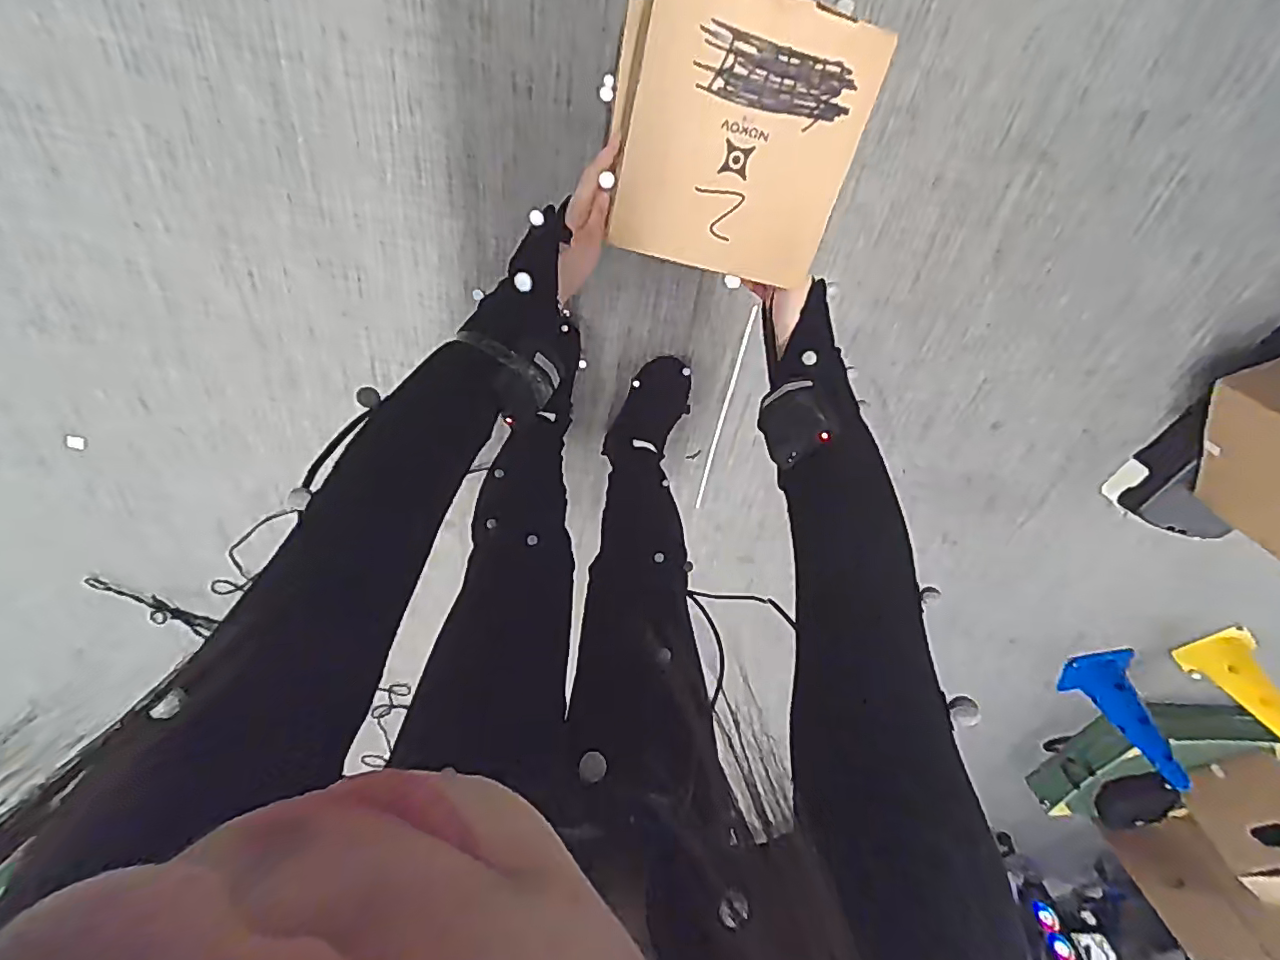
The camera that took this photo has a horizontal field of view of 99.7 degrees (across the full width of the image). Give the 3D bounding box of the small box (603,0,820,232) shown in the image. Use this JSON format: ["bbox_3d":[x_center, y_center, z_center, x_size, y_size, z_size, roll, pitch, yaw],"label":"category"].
[{"bbox_3d":[0.060,-0.390,0.583,0.179,0.176,0.168,7,128,-9],"label":"small box"}]
